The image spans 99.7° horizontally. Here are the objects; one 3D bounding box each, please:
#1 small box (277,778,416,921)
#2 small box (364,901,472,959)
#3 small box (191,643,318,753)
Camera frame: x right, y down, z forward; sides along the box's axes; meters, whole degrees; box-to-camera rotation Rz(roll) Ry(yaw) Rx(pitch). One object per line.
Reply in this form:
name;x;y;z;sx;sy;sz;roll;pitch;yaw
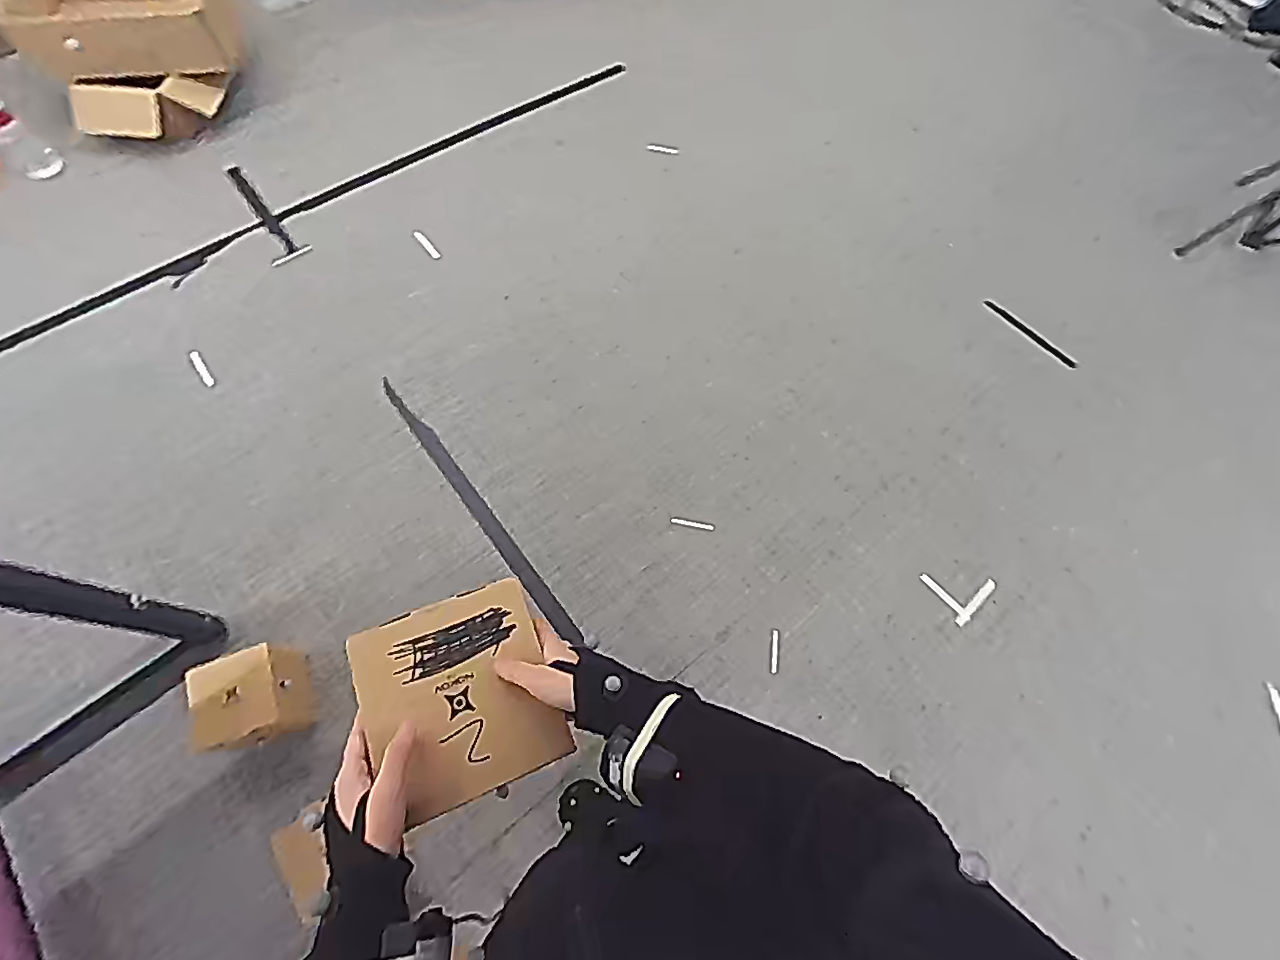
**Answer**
small box;-0.597;0.747;1.119;0.168;0.176;0.179;-33;72;-16
small box;-0.436;0.962;1.033;0.168;0.176;0.179;-35;72;-18
small box;-0.861;0.491;1.218;0.168;0.176;0.179;-20;70;-12
